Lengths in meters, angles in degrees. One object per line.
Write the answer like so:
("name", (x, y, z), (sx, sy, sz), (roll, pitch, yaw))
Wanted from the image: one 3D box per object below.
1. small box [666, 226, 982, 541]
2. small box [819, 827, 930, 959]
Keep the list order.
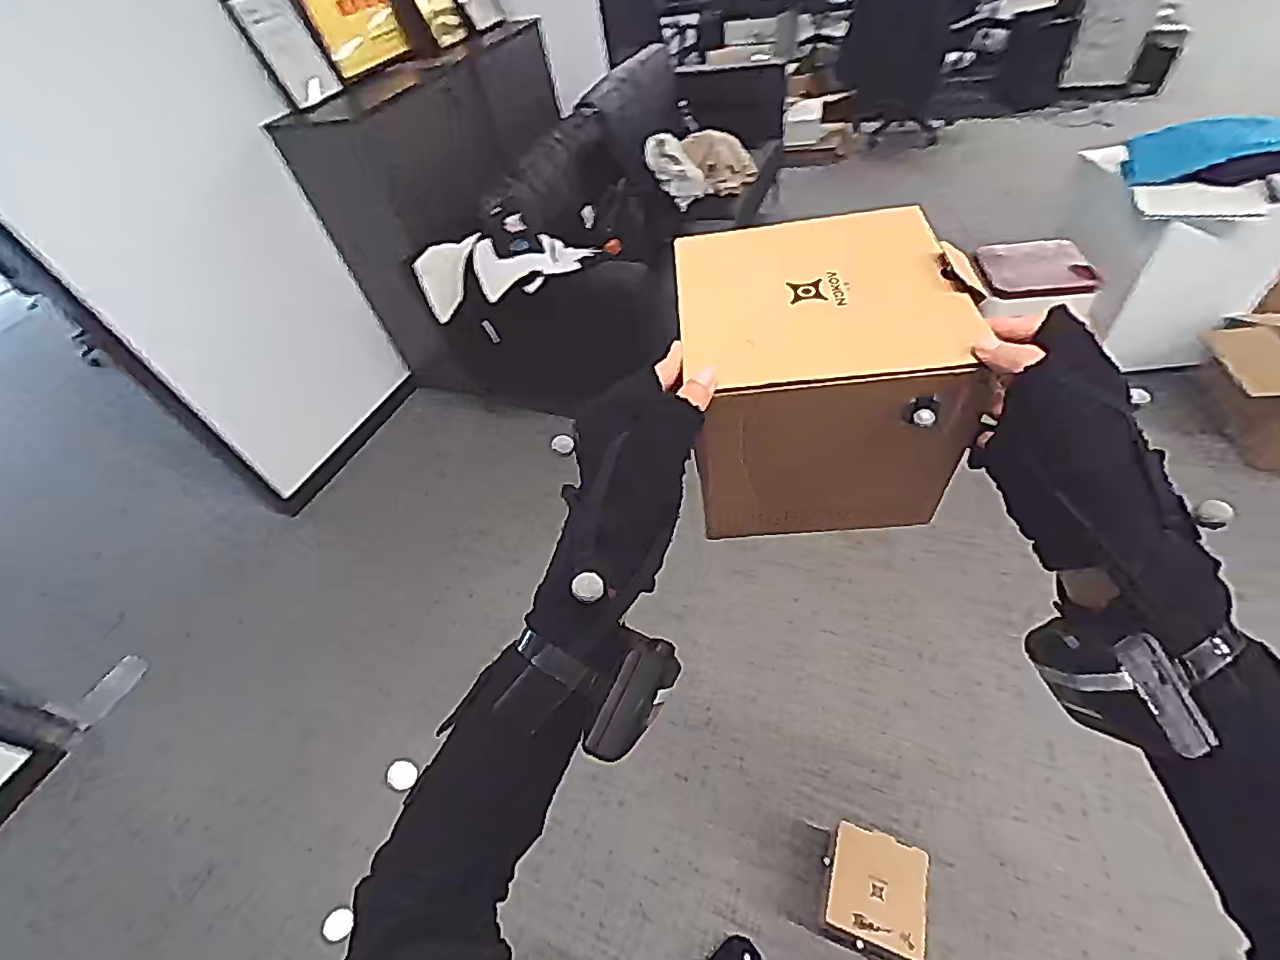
("small box", (0.117, -0.065, 0.418), (0.179, 0.176, 0.168), (-5, 52, 6))
("small box", (0.455, 0.827, 1.063), (0.168, 0.176, 0.179), (12, 51, 22))
